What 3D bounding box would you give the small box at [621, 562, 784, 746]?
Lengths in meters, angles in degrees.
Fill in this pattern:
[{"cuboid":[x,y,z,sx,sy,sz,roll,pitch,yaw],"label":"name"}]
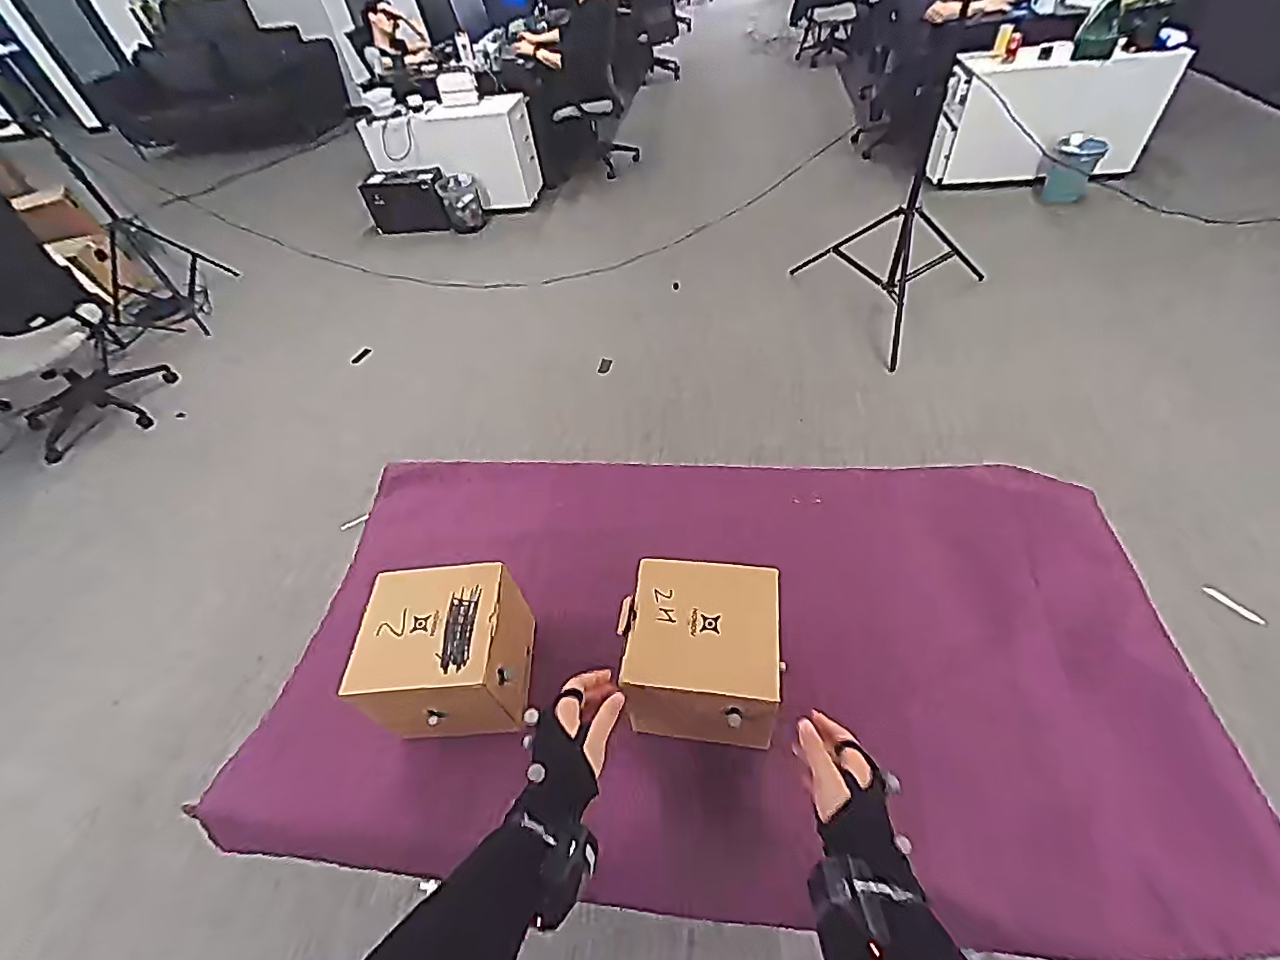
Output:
[{"cuboid":[0.085,0.224,0.690,0.179,0.176,0.168,2,48,11],"label":"small box"}]
